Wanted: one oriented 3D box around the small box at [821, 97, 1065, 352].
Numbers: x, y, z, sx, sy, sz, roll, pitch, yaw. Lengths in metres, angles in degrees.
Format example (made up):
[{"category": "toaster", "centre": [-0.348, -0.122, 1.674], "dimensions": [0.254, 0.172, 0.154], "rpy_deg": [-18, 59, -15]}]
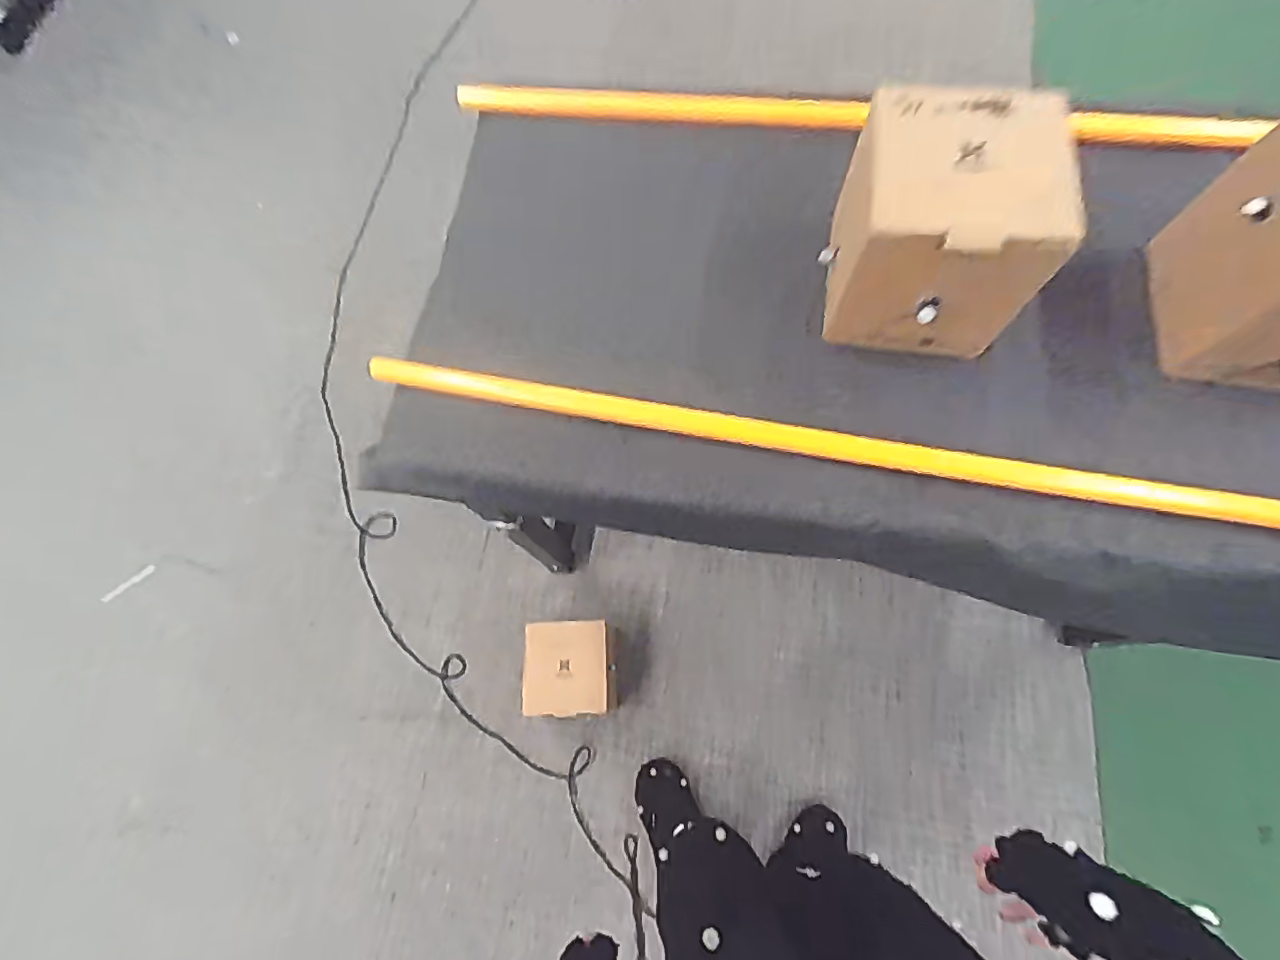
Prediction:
[{"category": "small box", "centre": [0.288, -0.250, 0.556], "dimensions": [0.168, 0.176, 0.179], "rpy_deg": [5, 70, 8]}]
